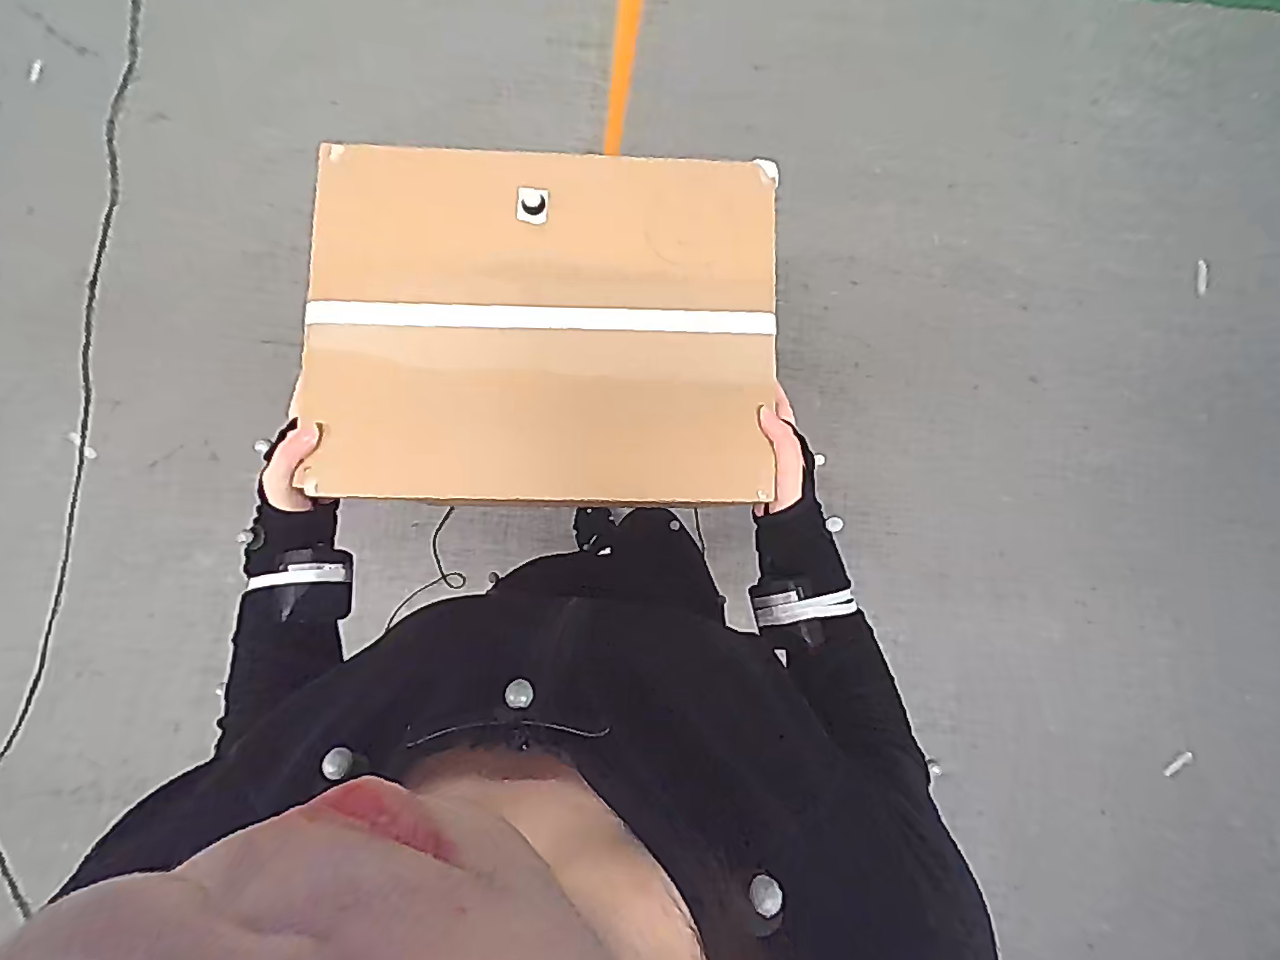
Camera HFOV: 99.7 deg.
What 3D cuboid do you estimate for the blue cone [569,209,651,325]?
[{"bbox_3d":[-0.076,-0.569,1.364,0.192,0.380,0.193,38,85,0],"label":"blue cone"}]
